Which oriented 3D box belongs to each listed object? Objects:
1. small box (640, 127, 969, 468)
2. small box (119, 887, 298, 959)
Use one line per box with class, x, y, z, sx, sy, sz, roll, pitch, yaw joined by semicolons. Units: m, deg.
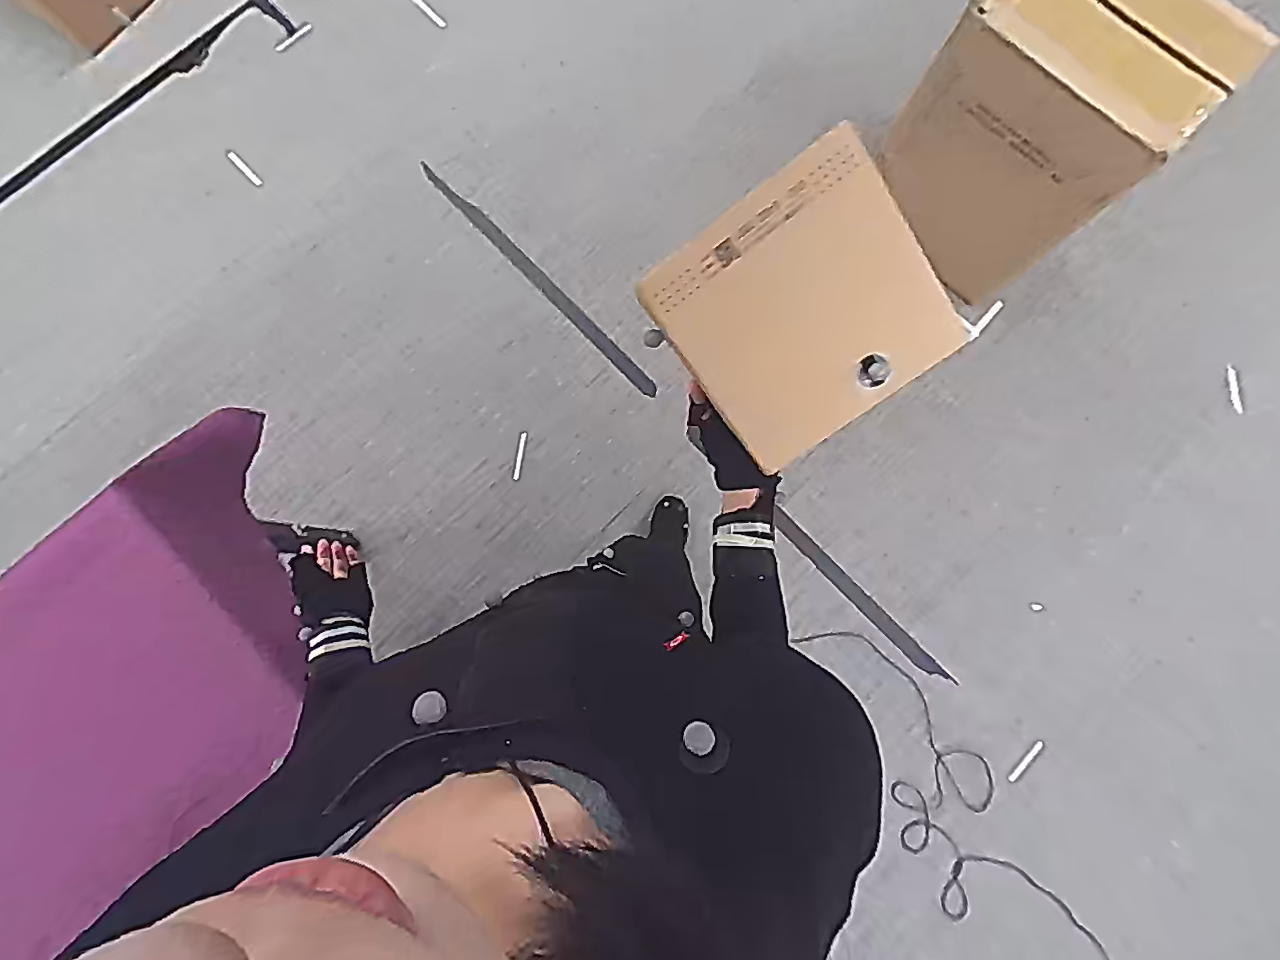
small box;0.112;-0.141;0.439;0.168;0.179;0.176;-35;103;11
small box;-0.534;0.627;0.632;0.168;0.176;0.179;-25;83;-3
